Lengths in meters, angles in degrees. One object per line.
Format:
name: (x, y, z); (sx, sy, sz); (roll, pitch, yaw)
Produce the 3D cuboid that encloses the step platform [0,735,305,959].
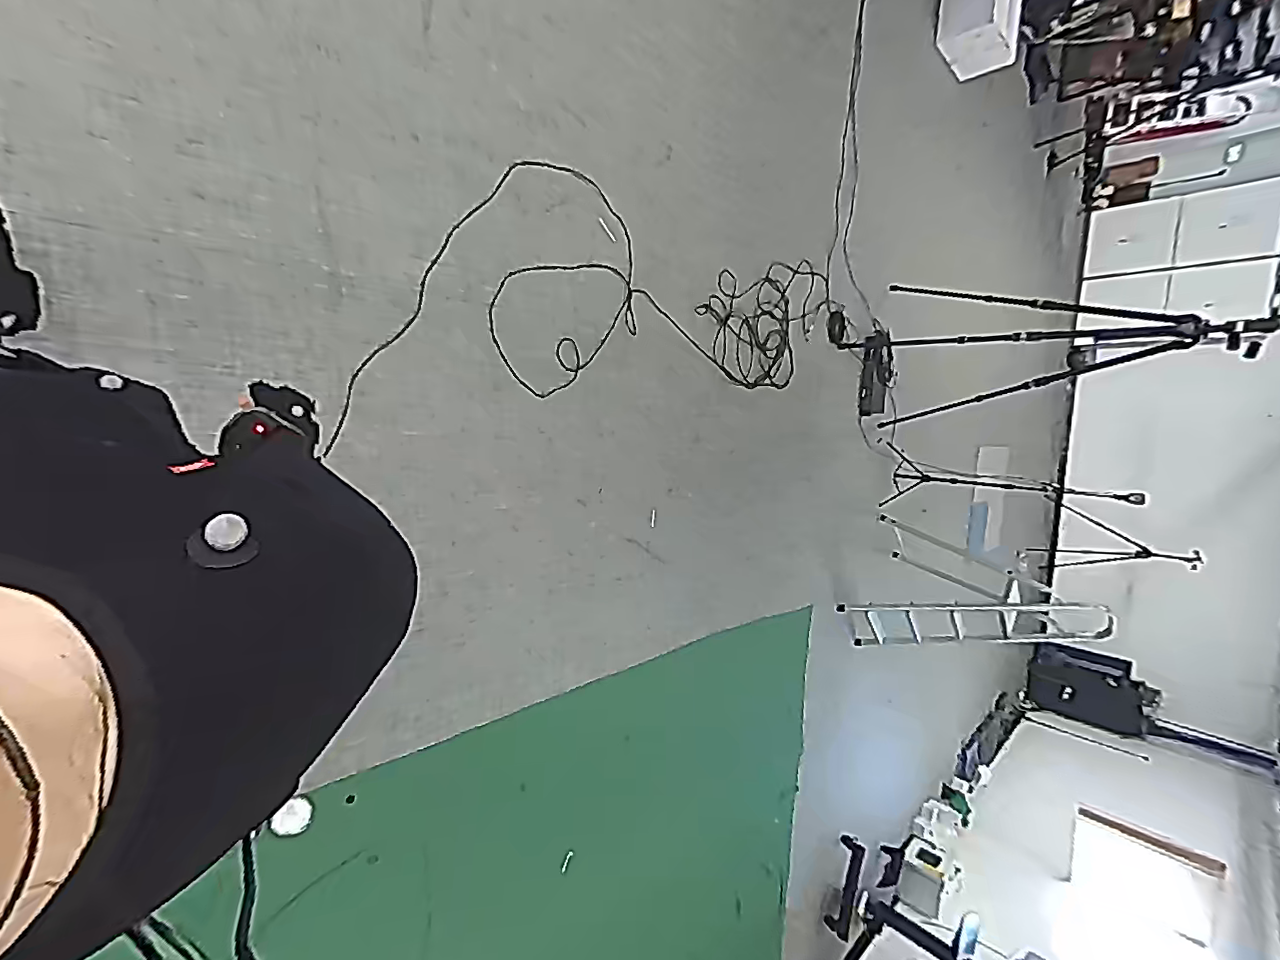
step platform: (-0.964, 0.690, 0.884); (0.684, 0.204, 0.286); (-4, 99, -45)
